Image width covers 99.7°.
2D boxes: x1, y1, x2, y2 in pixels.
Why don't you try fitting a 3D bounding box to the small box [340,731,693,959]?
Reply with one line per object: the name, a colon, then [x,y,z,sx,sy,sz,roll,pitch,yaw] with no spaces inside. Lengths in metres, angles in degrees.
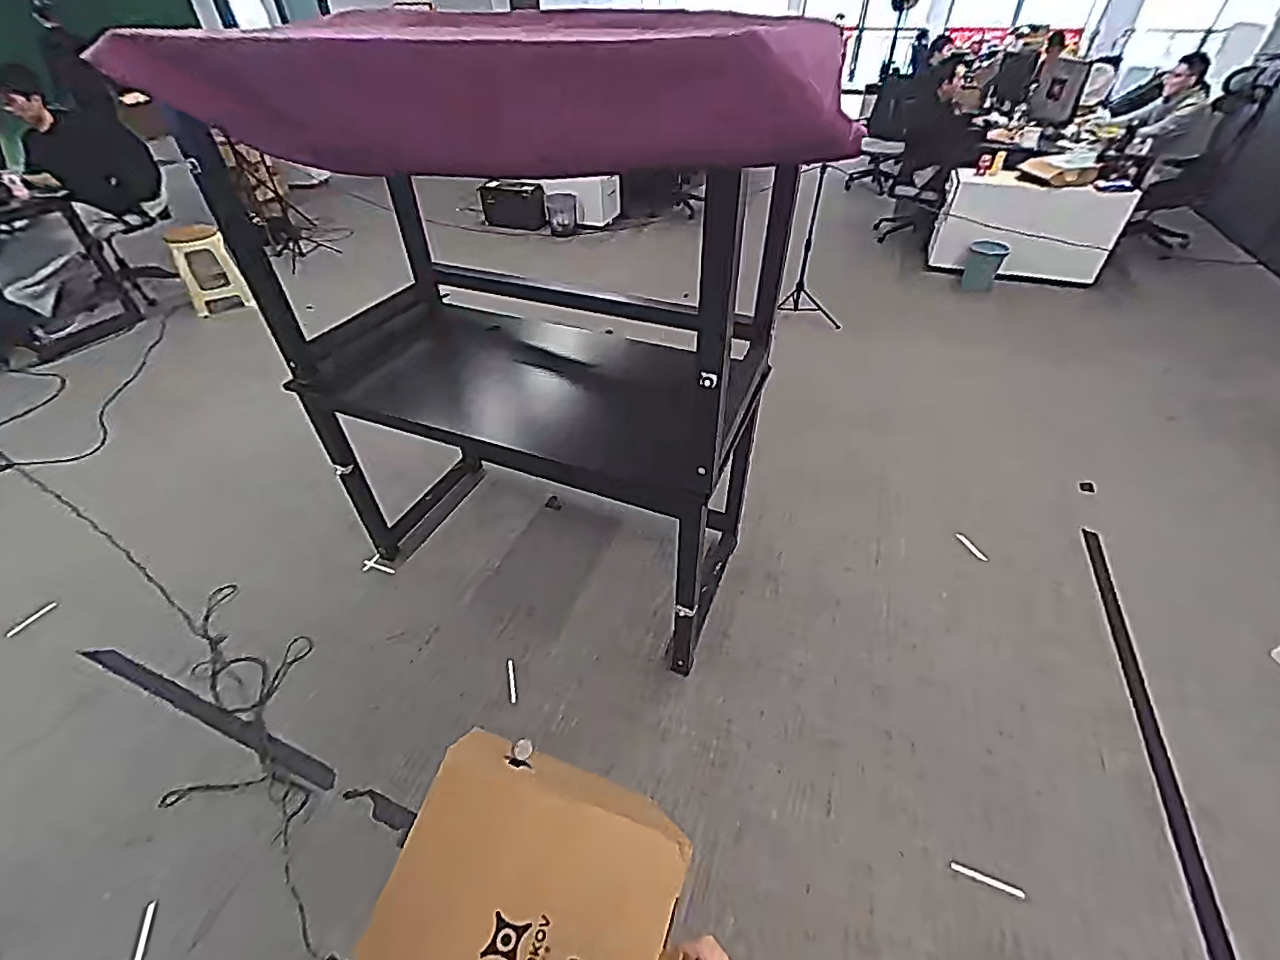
small box: [-0.087,0.295,0.390,0.179,0.176,0.168,23,67,-3]
